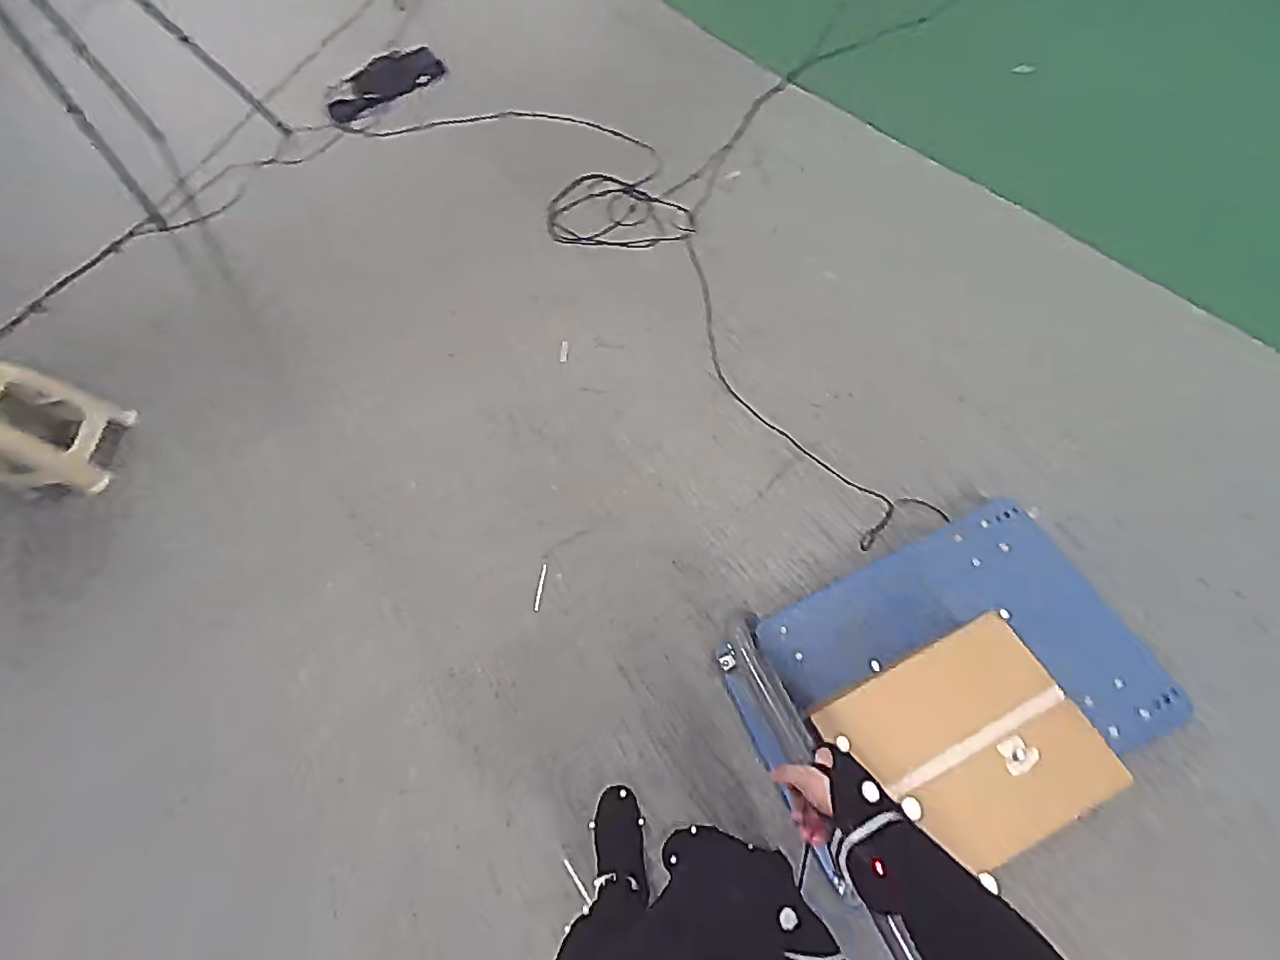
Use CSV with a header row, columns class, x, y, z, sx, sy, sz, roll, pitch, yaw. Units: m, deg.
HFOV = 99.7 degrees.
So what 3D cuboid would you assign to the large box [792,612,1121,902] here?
class,x,y,z,sx,sy,sz,roll,pitch,yaw
large box,0.568,0.522,1.065,0.408,0.320,0.320,-27,65,-6
